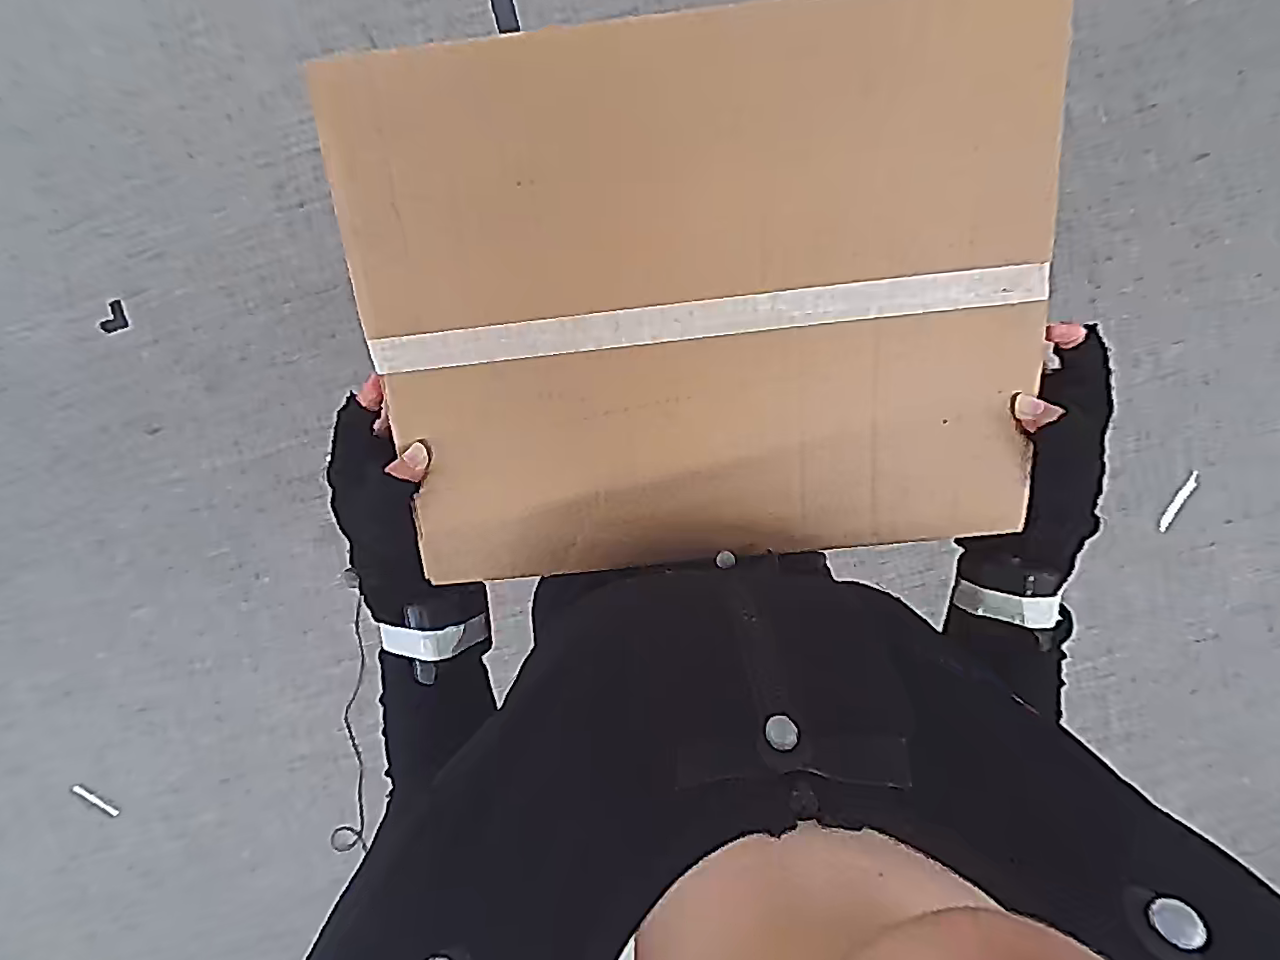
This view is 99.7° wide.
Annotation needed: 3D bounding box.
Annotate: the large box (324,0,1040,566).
[{"bbox_3d":[0.034,-0.146,0.478,0.408,0.320,0.320,-6,107,2],"label":"large box"}]
